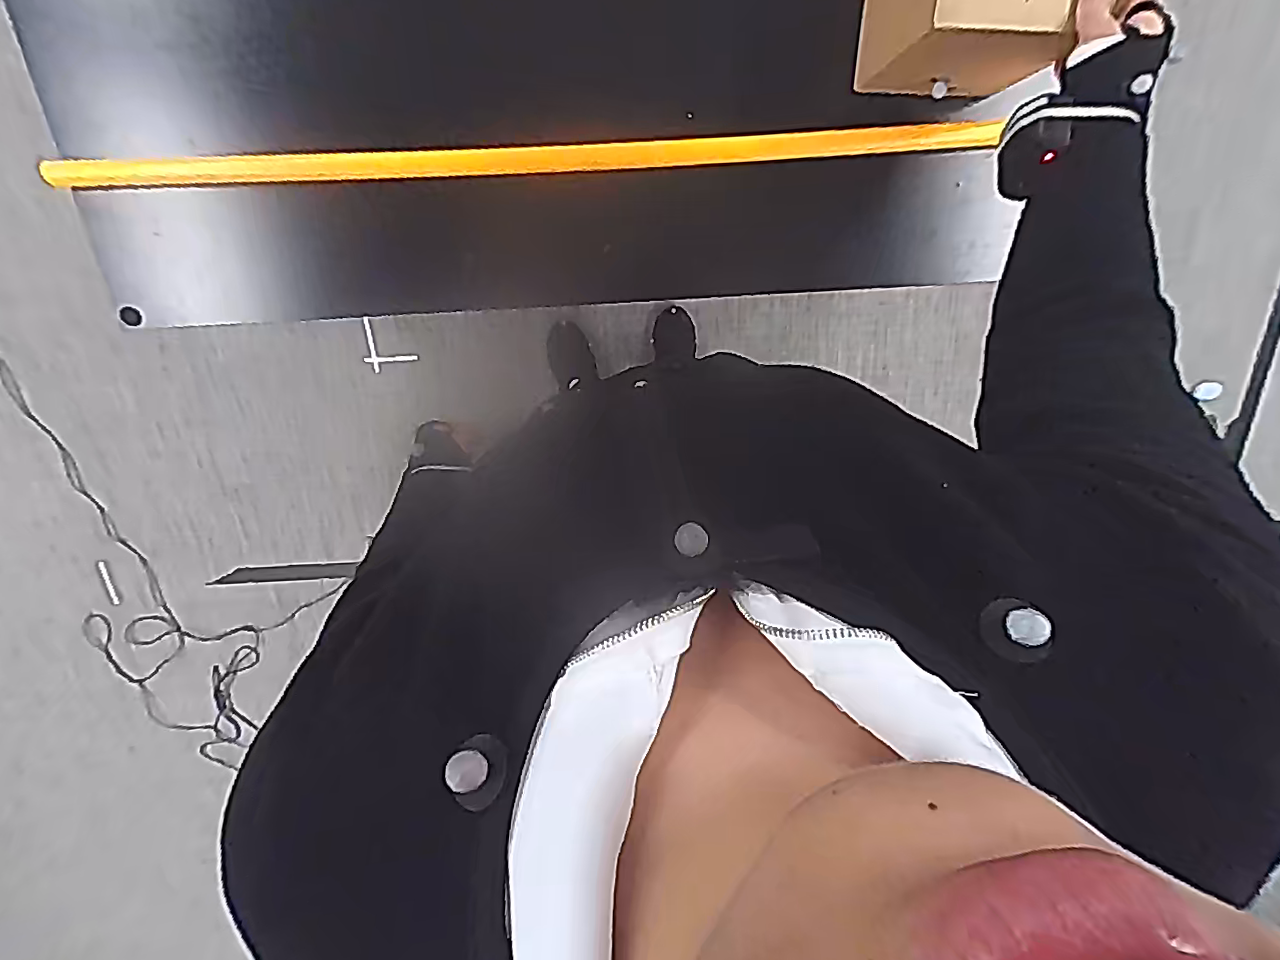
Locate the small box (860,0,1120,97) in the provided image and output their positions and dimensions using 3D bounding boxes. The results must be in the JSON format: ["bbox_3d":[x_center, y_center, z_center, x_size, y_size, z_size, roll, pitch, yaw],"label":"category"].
[{"bbox_3d":[0.333,-0.503,0.520,0.168,0.176,0.179,1,110,-3],"label":"small box"}]
